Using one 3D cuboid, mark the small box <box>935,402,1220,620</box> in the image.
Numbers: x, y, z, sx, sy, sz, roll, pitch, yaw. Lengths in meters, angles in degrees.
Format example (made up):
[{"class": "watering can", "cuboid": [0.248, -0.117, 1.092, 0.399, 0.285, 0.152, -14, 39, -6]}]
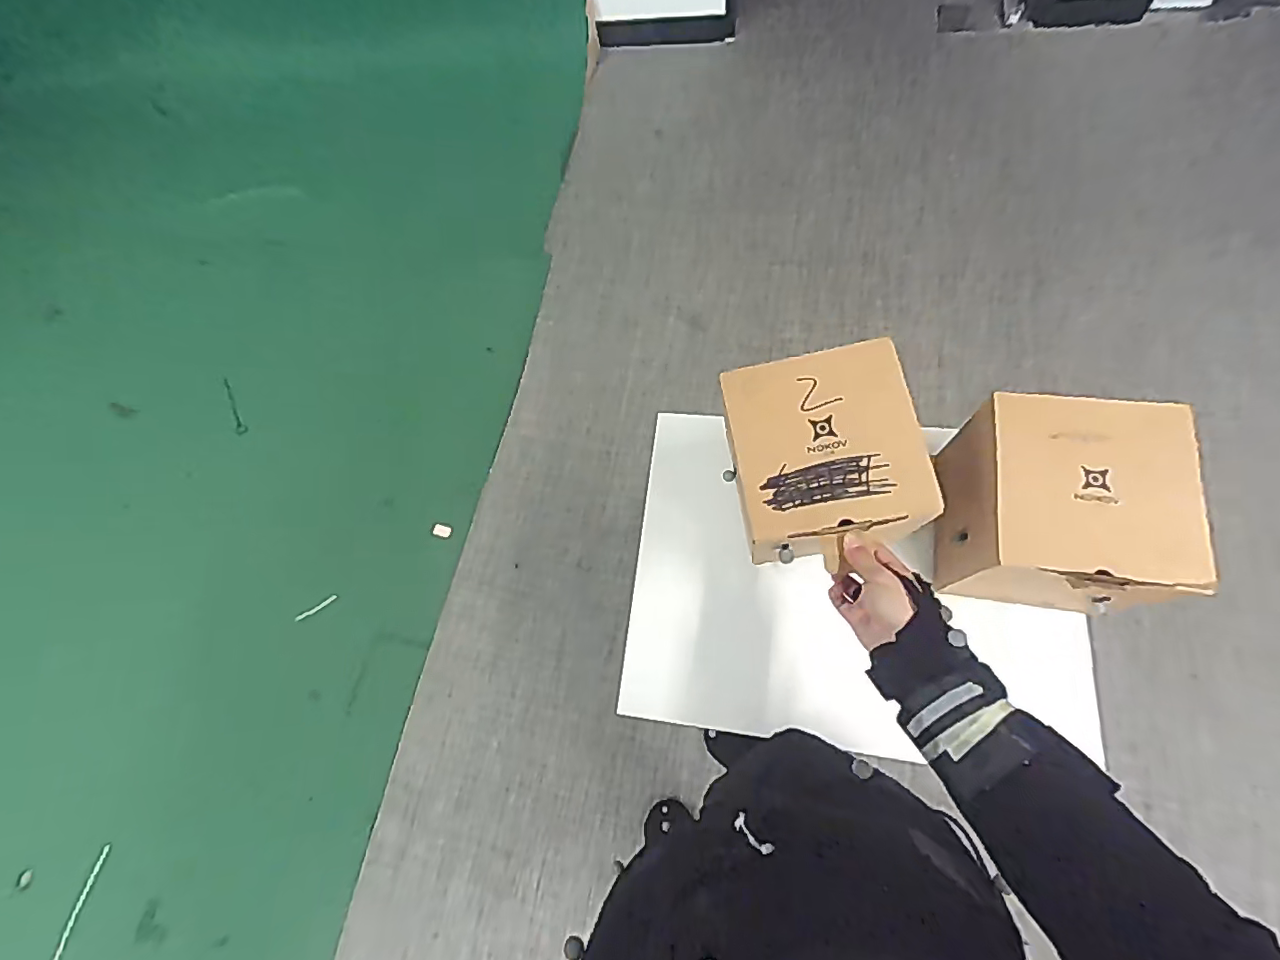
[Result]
[{"class": "small box", "cuboid": [0.421, 0.040, 0.558, 0.168, 0.176, 0.179, 6, 70, 11]}]
